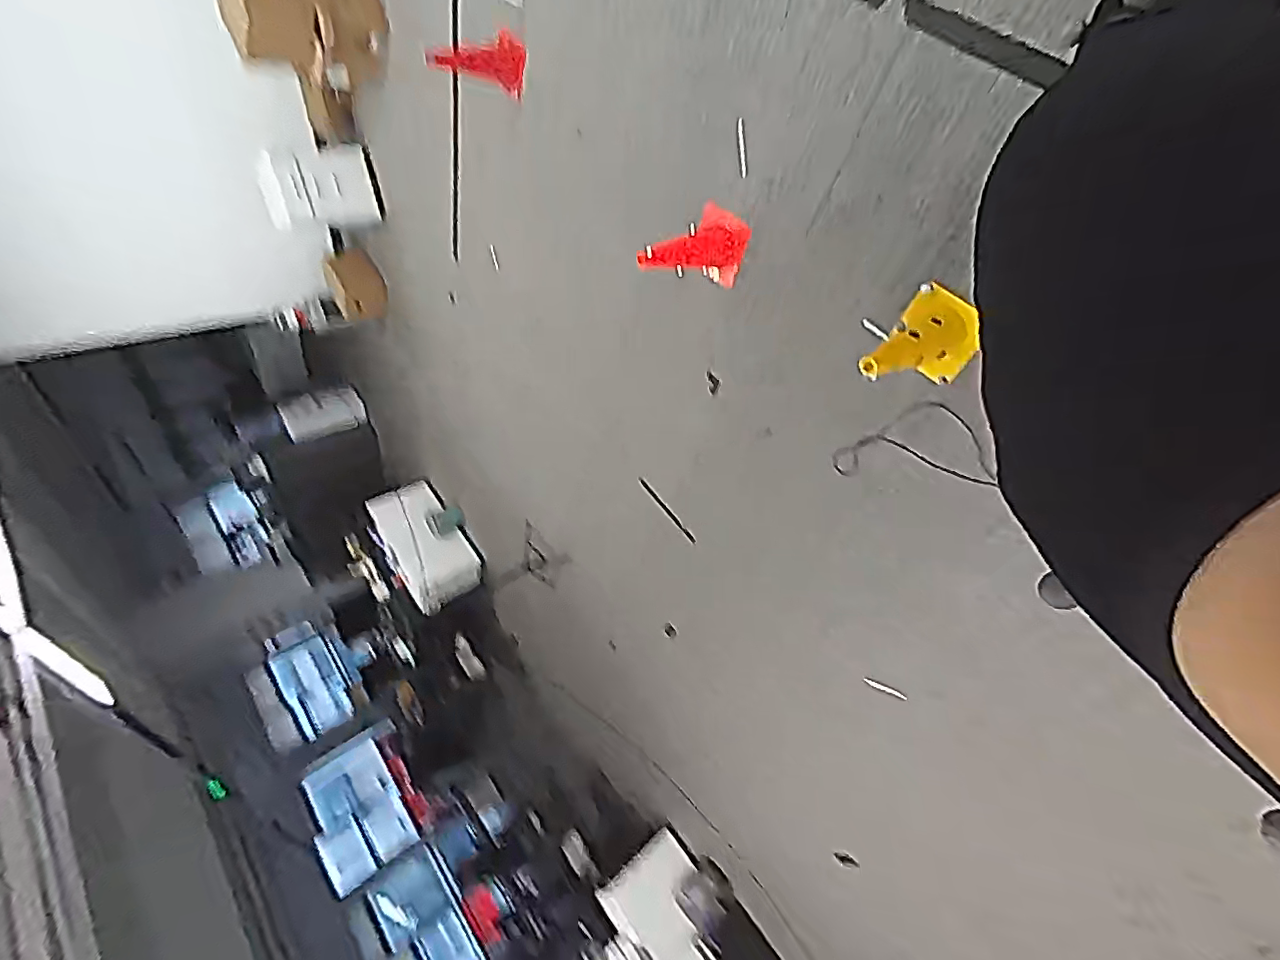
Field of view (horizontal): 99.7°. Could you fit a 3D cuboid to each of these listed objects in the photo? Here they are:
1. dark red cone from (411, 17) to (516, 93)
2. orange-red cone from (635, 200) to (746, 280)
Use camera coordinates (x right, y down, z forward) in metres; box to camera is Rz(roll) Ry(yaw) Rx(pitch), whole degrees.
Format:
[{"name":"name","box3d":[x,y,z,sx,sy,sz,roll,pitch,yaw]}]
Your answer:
[{"name":"dark red cone","box3d":[-0.682,-1.653,2.084,0.202,0.394,0.201,51,142,17]},{"name":"orange-red cone","box3d":[0.128,-0.721,1.675,0.199,0.360,0.198,45,142,23]}]
